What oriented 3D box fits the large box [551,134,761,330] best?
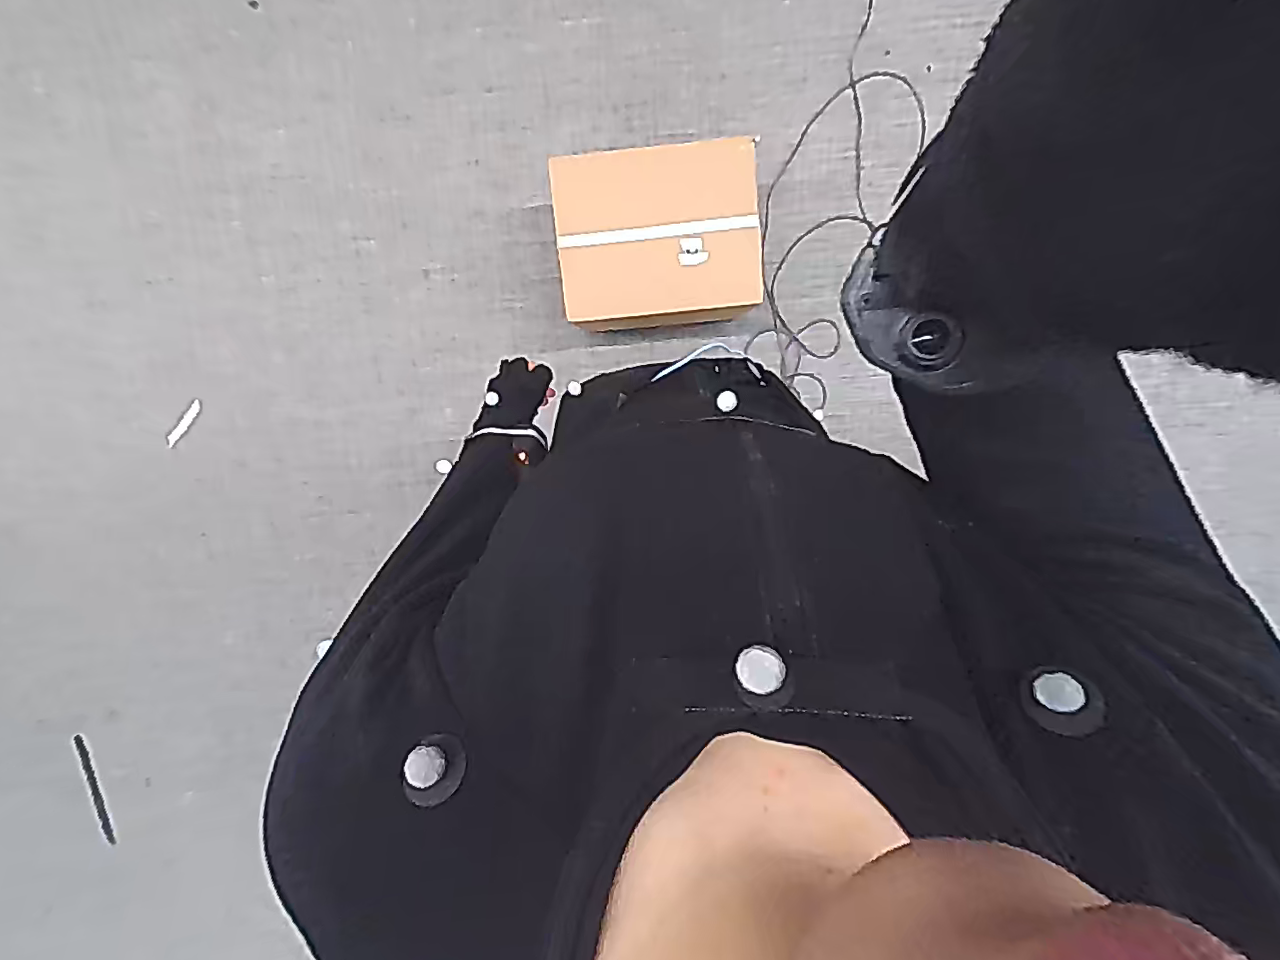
[{"bbox_3d":[0.036,-0.531,1.228,0.408,0.320,0.320,-5,102,1],"label":"large box"}]
